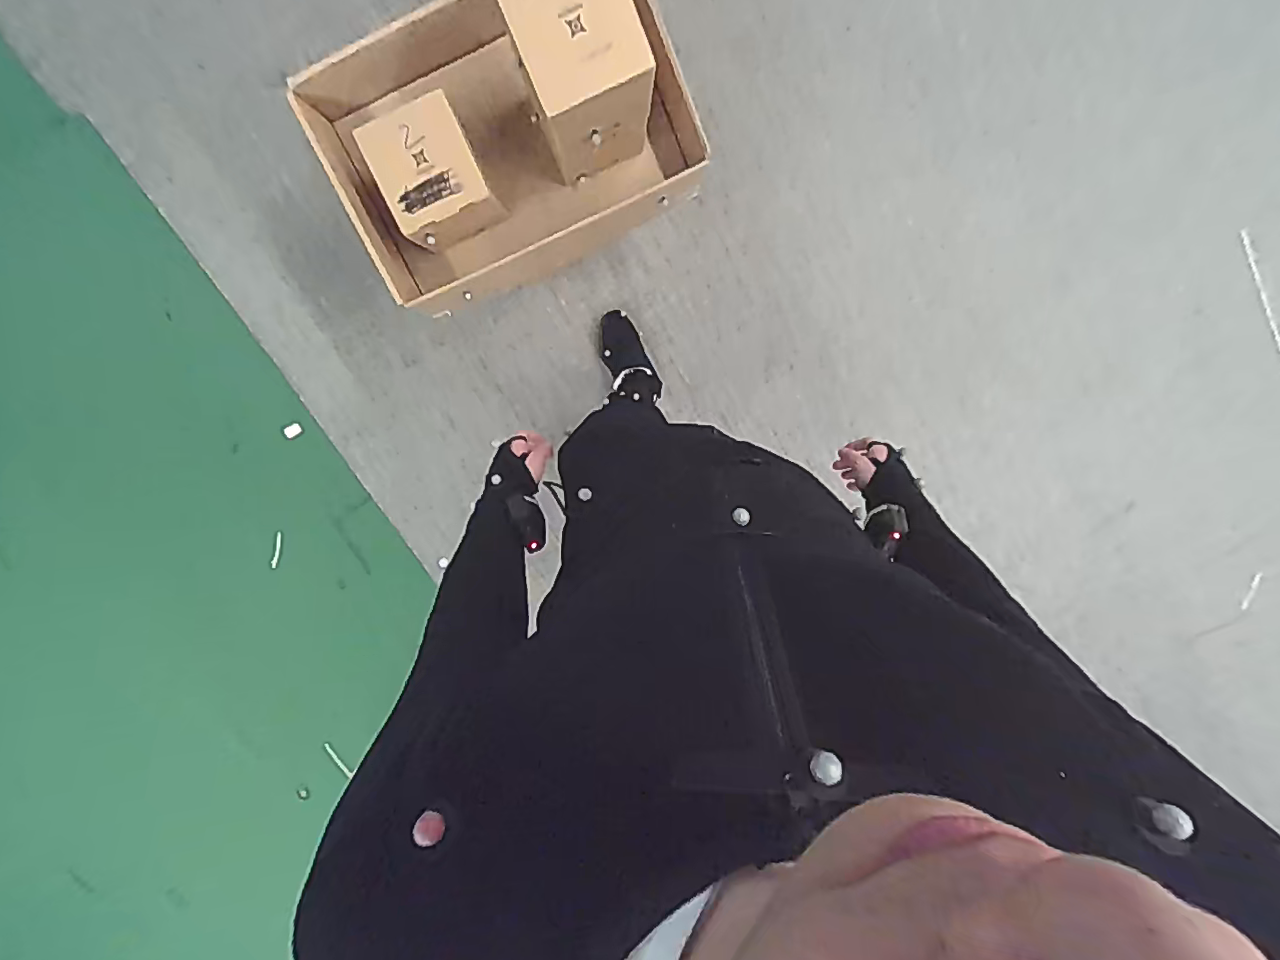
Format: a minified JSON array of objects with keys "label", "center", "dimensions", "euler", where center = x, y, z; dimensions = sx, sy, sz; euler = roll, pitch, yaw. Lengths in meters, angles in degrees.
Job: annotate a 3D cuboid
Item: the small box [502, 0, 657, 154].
[{"label":"small box","center":[-0.086,-0.622,0.791],"dimensions":[0.168,0.176,0.179],"euler":[-23,103,4]}]
